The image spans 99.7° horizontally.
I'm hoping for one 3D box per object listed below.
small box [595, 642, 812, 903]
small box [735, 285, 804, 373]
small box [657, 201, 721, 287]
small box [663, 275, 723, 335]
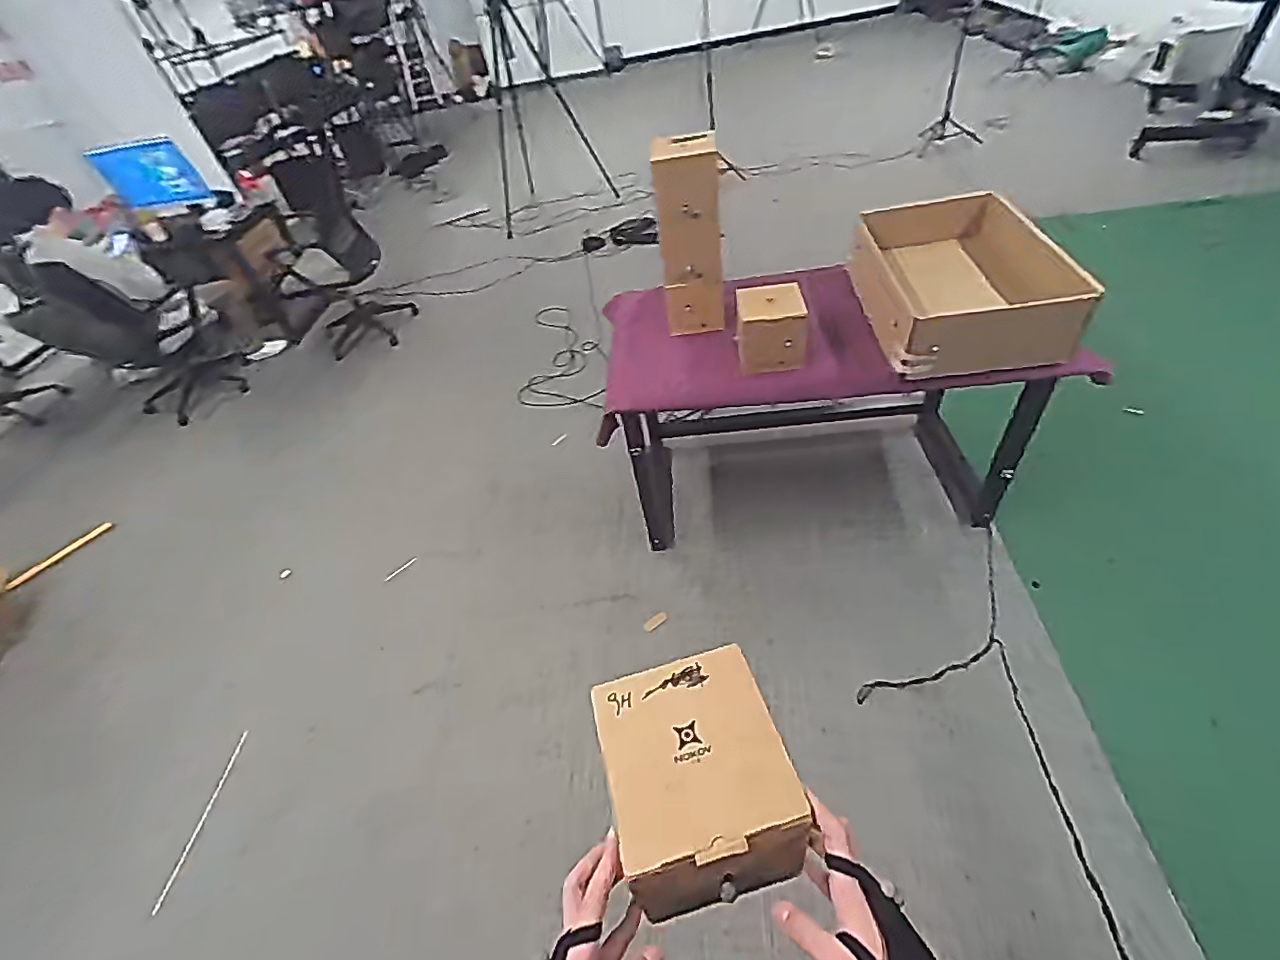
[{"bbox_3d":[0.061,0.304,0.557,0.168,0.176,0.179,-14,41,-4],"label":"small box"},{"bbox_3d":[0.352,-0.406,1.479,0.168,0.176,0.179,-4,44,8],"label":"small box"},{"bbox_3d":[0.146,-0.677,1.556,0.168,0.176,0.179,-3,47,10],"label":"small box"},{"bbox_3d":[0.165,-0.562,1.672,0.168,0.176,0.179,-6,45,7],"label":"small box"}]
